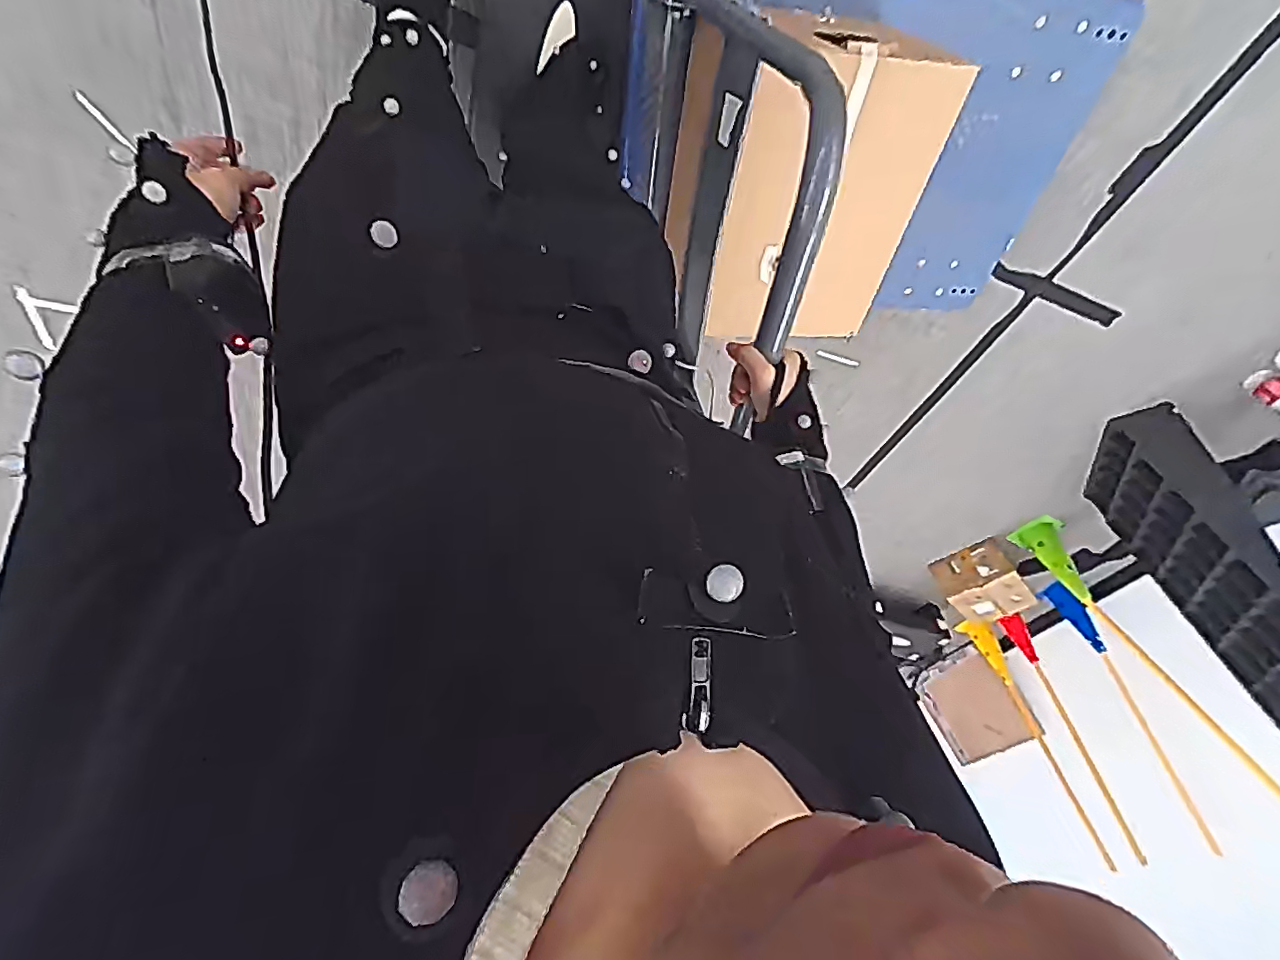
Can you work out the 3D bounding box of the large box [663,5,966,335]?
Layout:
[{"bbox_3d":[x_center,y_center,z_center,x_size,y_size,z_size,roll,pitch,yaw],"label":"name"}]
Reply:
[{"bbox_3d":[0.235,-0.505,0.911,0.320,0.320,0.408,-2,139,-10],"label":"large box"}]
